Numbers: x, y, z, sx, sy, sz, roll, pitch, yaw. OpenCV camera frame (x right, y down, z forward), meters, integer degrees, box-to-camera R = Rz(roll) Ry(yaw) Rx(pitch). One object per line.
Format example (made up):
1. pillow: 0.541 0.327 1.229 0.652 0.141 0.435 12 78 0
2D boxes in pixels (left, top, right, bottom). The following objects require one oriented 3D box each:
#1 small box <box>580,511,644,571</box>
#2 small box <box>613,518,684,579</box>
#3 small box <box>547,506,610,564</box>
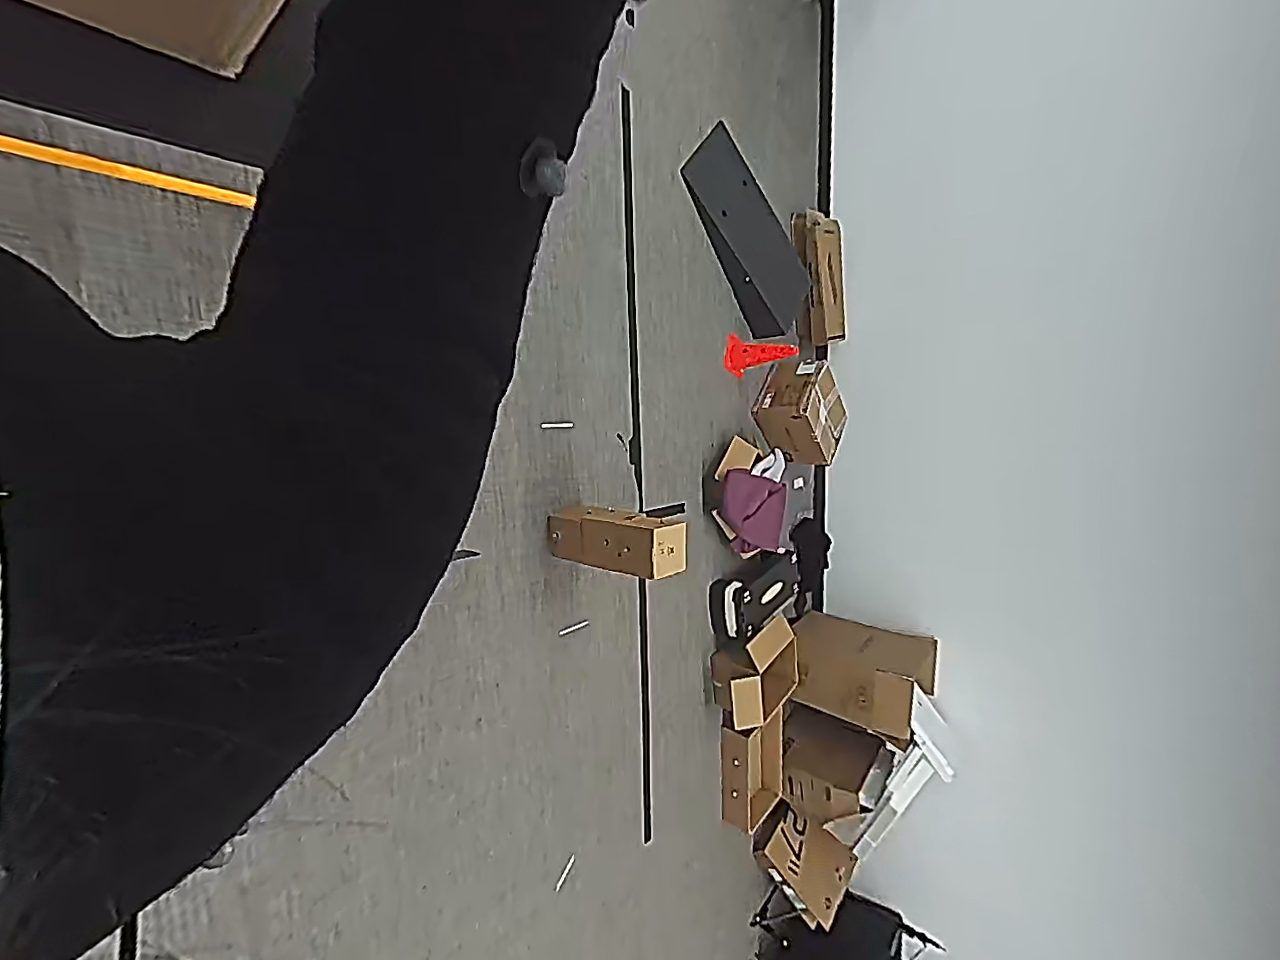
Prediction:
1. small box: -0.099 0.209 1.913 0.168 0.176 0.179 -11 102 -49
2. small box: 0.028 0.223 1.809 0.179 0.176 0.168 -6 98 -49
3. small box: -0.225 0.198 2.018 0.179 0.176 0.168 -17 106 -47
